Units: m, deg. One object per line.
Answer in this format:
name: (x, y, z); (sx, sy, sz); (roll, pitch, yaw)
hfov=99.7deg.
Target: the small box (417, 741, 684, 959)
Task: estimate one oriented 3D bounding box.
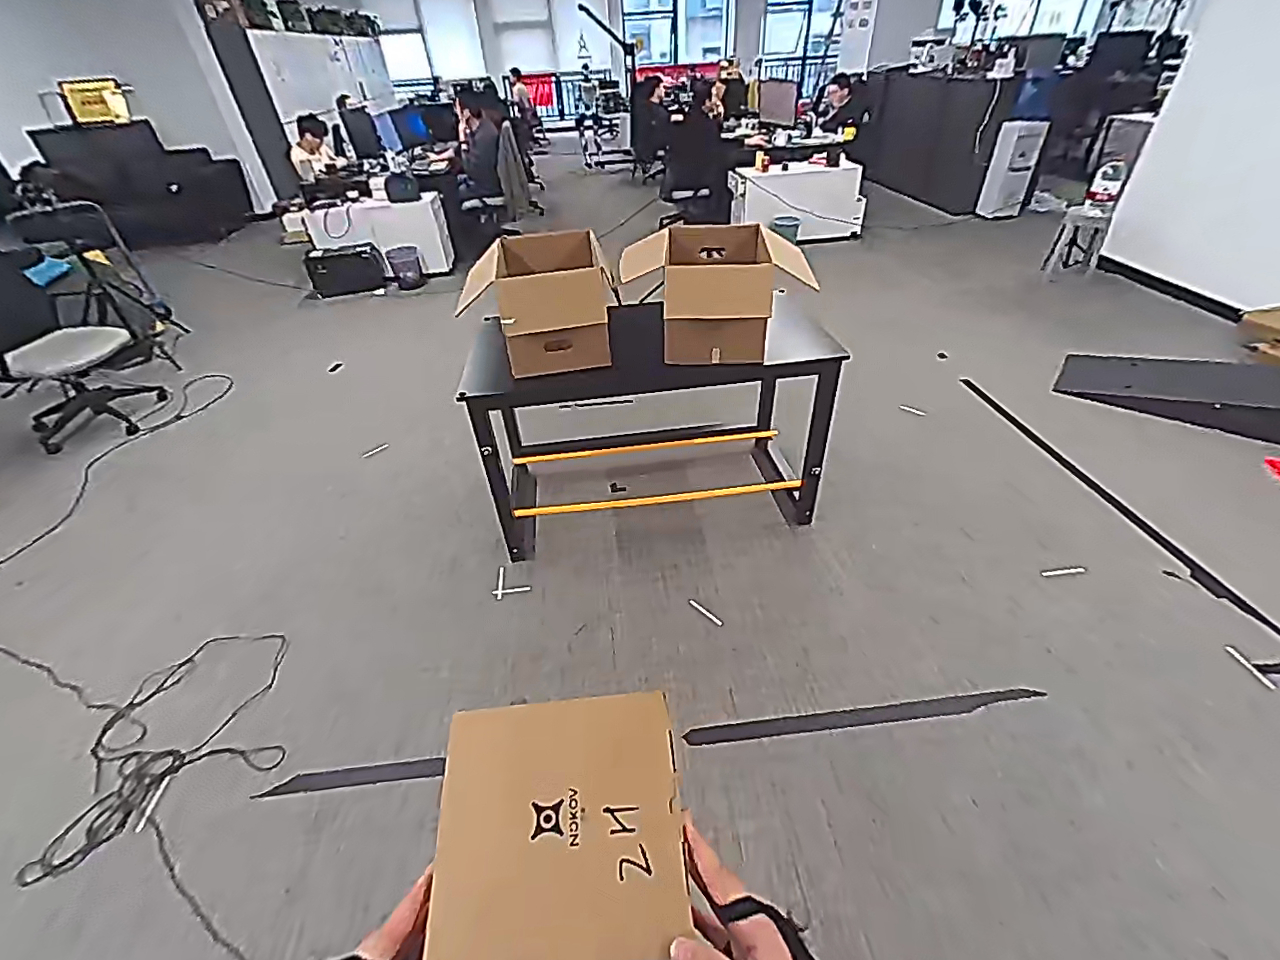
small box: (-0.059, 0.325, 0.436); (0.179, 0.176, 0.168); (-5, 53, -2)
